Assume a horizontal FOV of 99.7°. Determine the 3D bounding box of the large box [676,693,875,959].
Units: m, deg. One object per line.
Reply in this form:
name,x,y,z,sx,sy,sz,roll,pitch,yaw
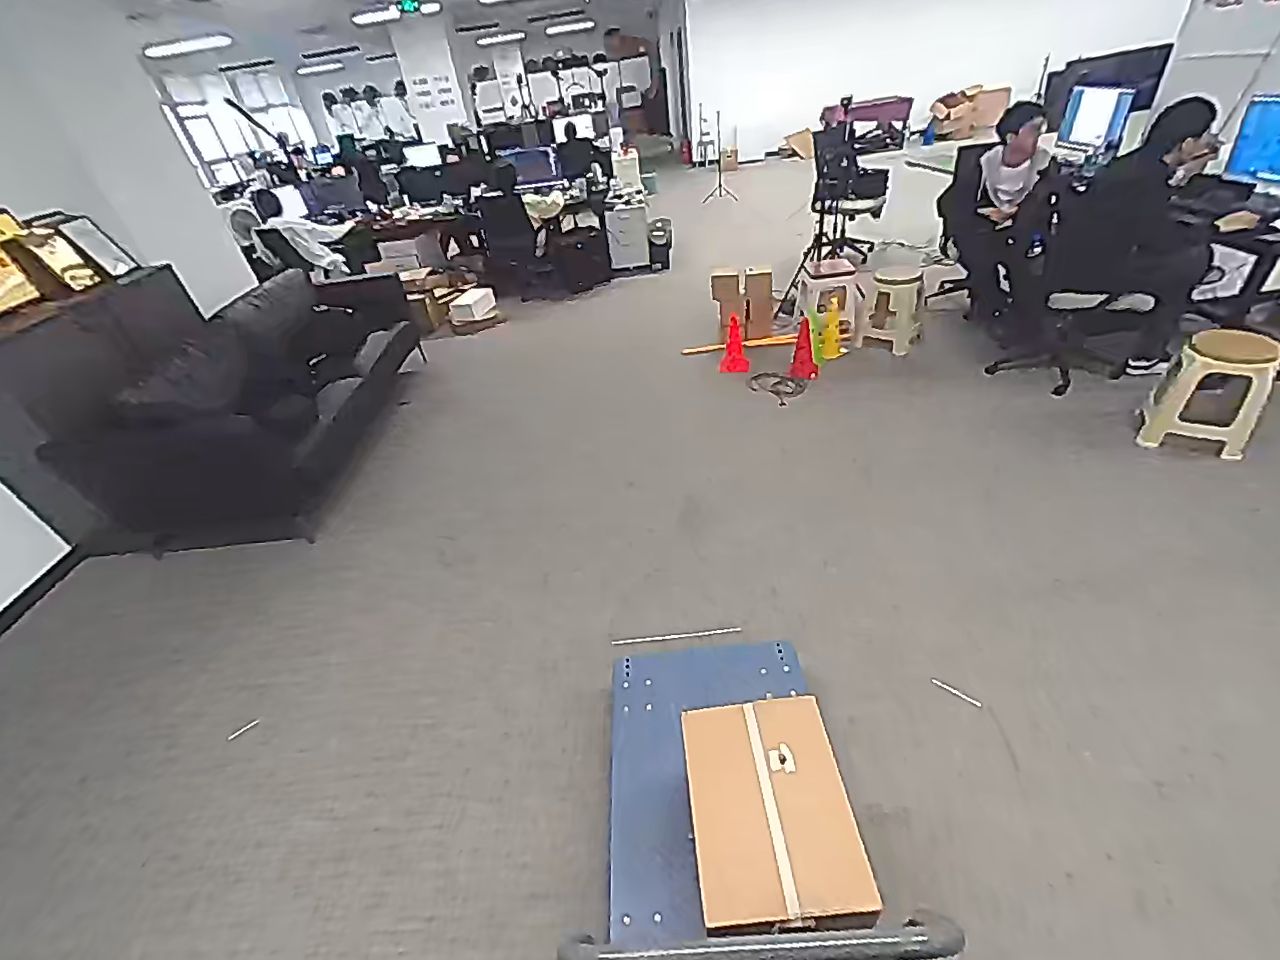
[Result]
large box,0.267,0.749,1.184,0.320,0.320,0.408,-7,37,2
